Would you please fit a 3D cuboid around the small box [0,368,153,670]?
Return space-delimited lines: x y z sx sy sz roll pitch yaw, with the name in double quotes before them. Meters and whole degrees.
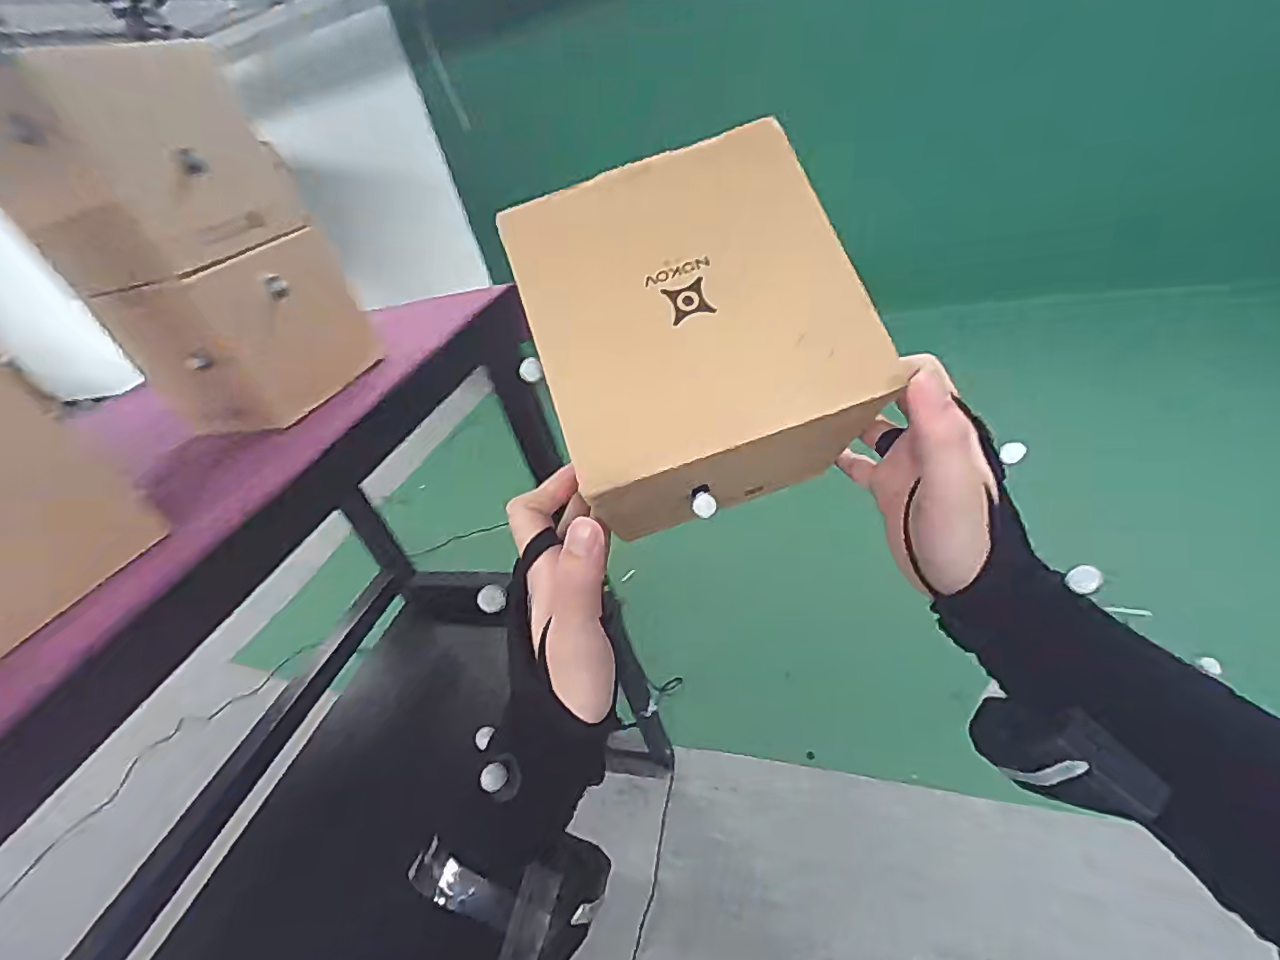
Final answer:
"small box" -0.514 0.039 0.388 0.168 0.176 0.179 0 40 24

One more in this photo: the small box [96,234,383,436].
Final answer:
"small box" -0.446 -0.162 0.635 0.168 0.176 0.179 0 39 23

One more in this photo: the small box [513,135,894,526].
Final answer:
"small box" 0.036 -0.076 0.370 0.168 0.176 0.179 -19 73 2
